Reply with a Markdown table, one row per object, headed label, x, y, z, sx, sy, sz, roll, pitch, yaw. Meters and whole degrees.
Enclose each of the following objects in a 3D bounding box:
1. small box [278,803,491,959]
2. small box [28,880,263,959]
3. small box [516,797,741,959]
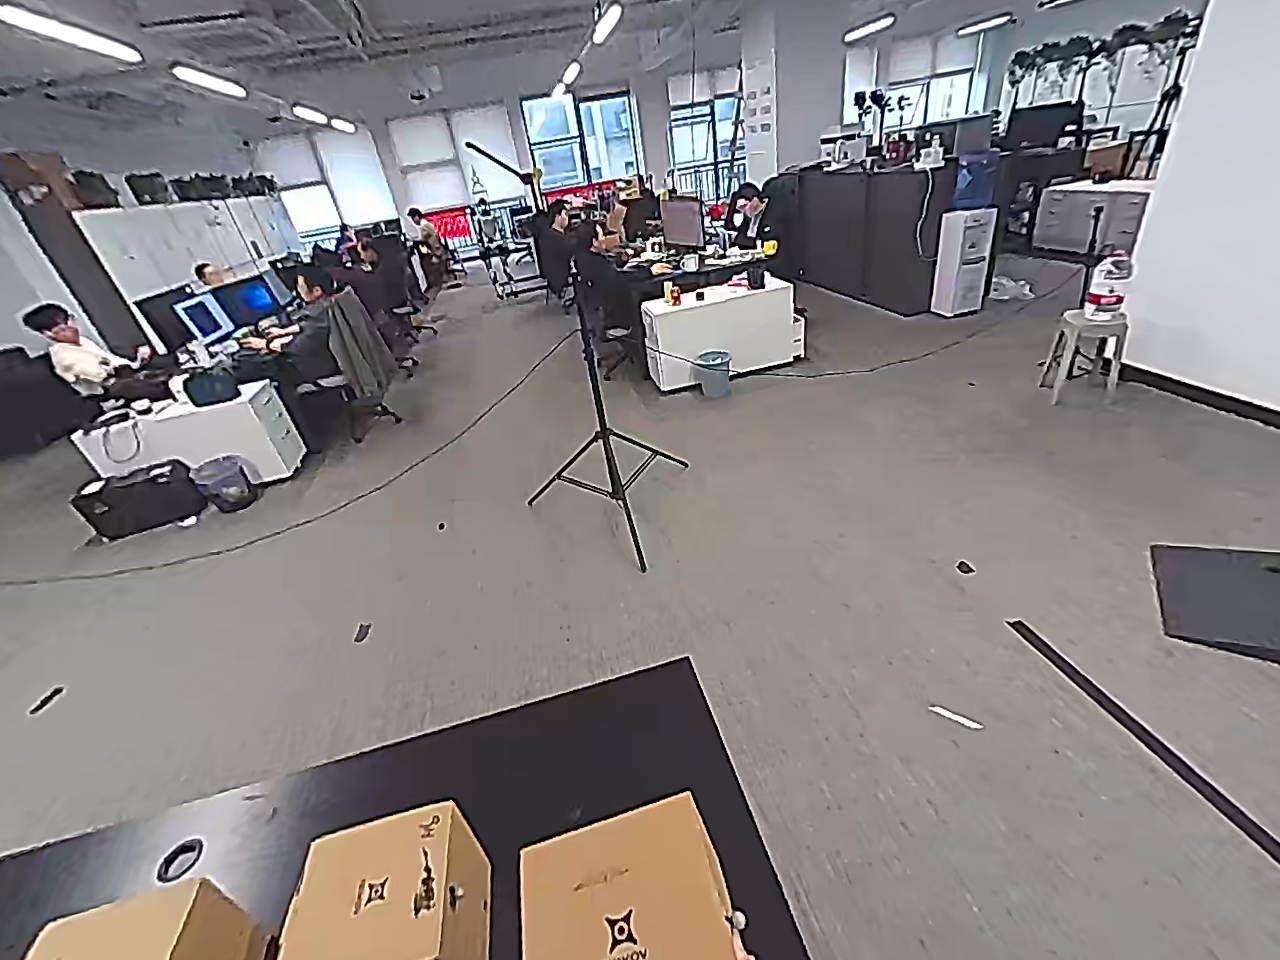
| label | x | y | z | sx | sy | sz | roll | pitch | yaw |
| --- | --- | --- | --- | --- | --- | --- | --- | --- | --- |
| small box | -0.294 | 0.537 | 0.651 | 0.179 | 0.176 | 0.168 | -14 | 31 | -5 |
| small box | -0.576 | 0.607 | 0.612 | 0.179 | 0.176 | 0.168 | -14 | 30 | -8 |
| small box | 0.000 | 0.428 | 0.478 | 0.168 | 0.176 | 0.179 | -19 | 35 | -2 |
